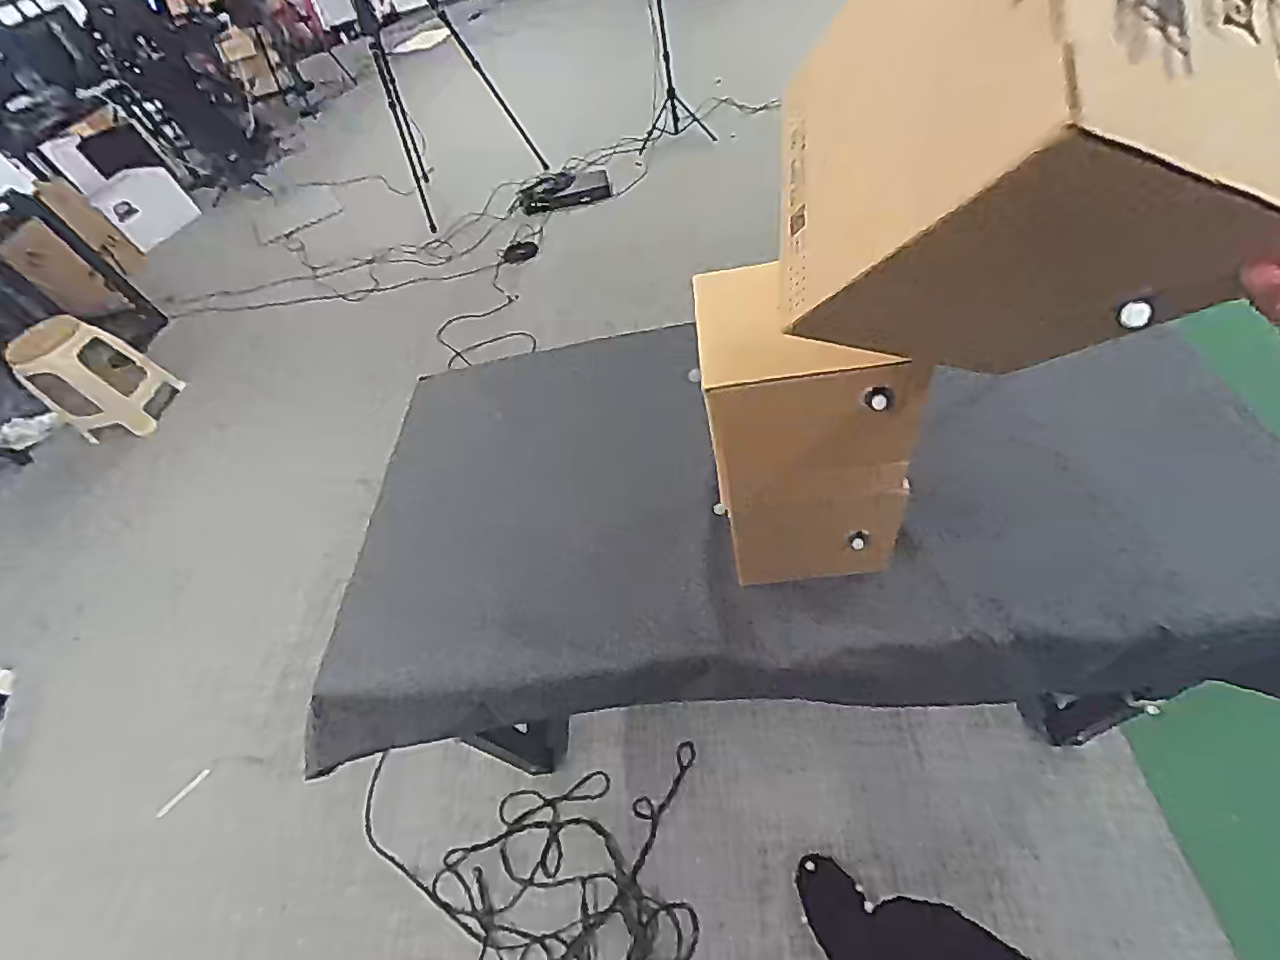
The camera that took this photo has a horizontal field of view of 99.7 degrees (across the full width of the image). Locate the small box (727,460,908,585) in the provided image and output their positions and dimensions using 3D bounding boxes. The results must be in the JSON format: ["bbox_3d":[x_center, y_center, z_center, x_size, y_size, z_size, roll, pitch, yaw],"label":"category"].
[{"bbox_3d":[0.191,0.008,0.644,0.179,0.176,0.168,-9,50,9],"label":"small box"}]

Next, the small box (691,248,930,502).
[{"bbox_3d":[0.149,-0.092,0.523,0.179,0.176,0.168,-6,50,9],"label":"small box"}]
